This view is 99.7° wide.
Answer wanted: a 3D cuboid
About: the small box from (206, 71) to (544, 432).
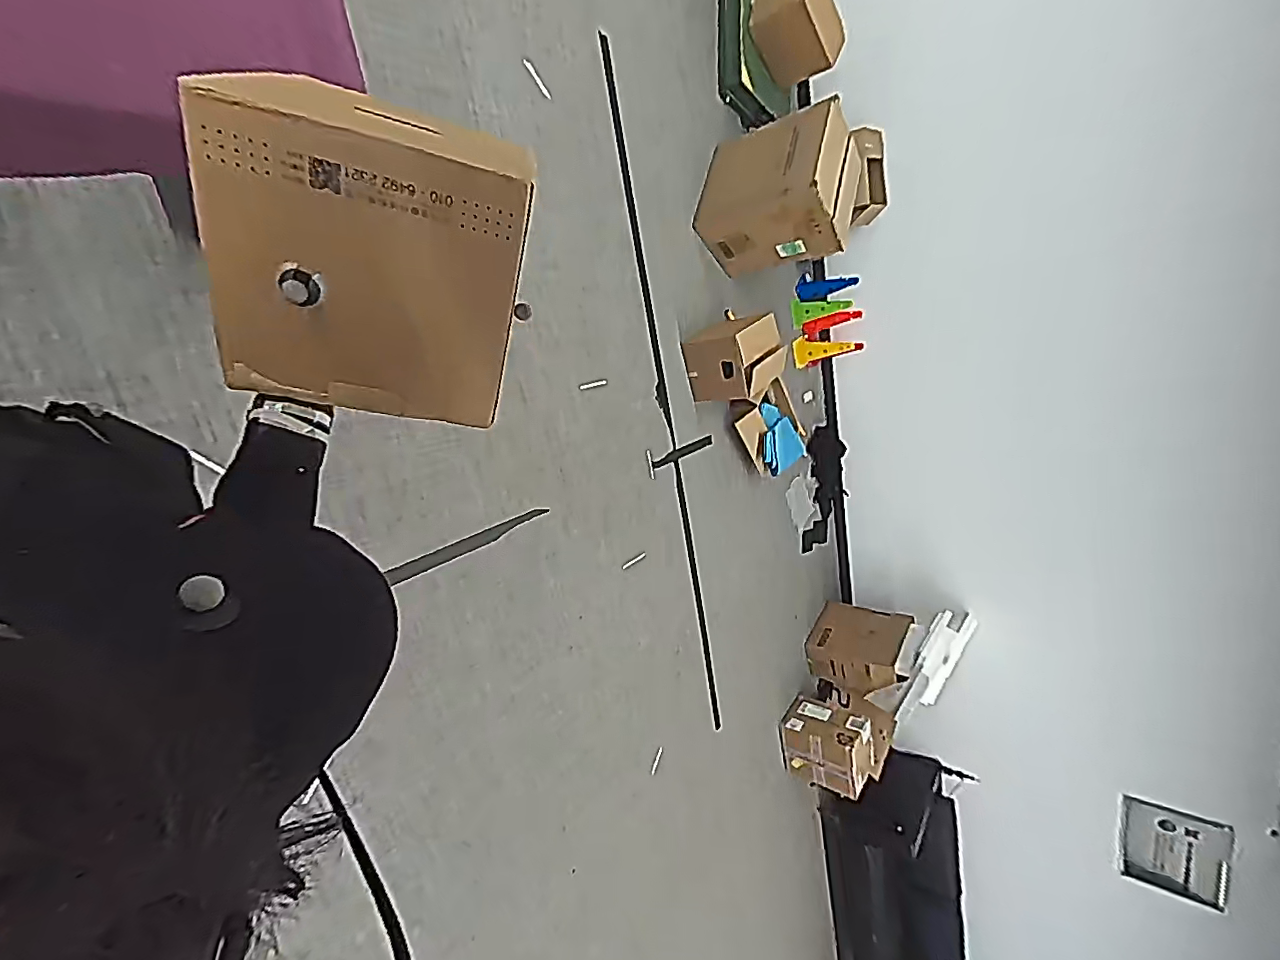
[{"bbox_3d":[-0.167,-0.159,0.378,0.168,0.179,0.176,9,124,-19],"label":"small box"}]
